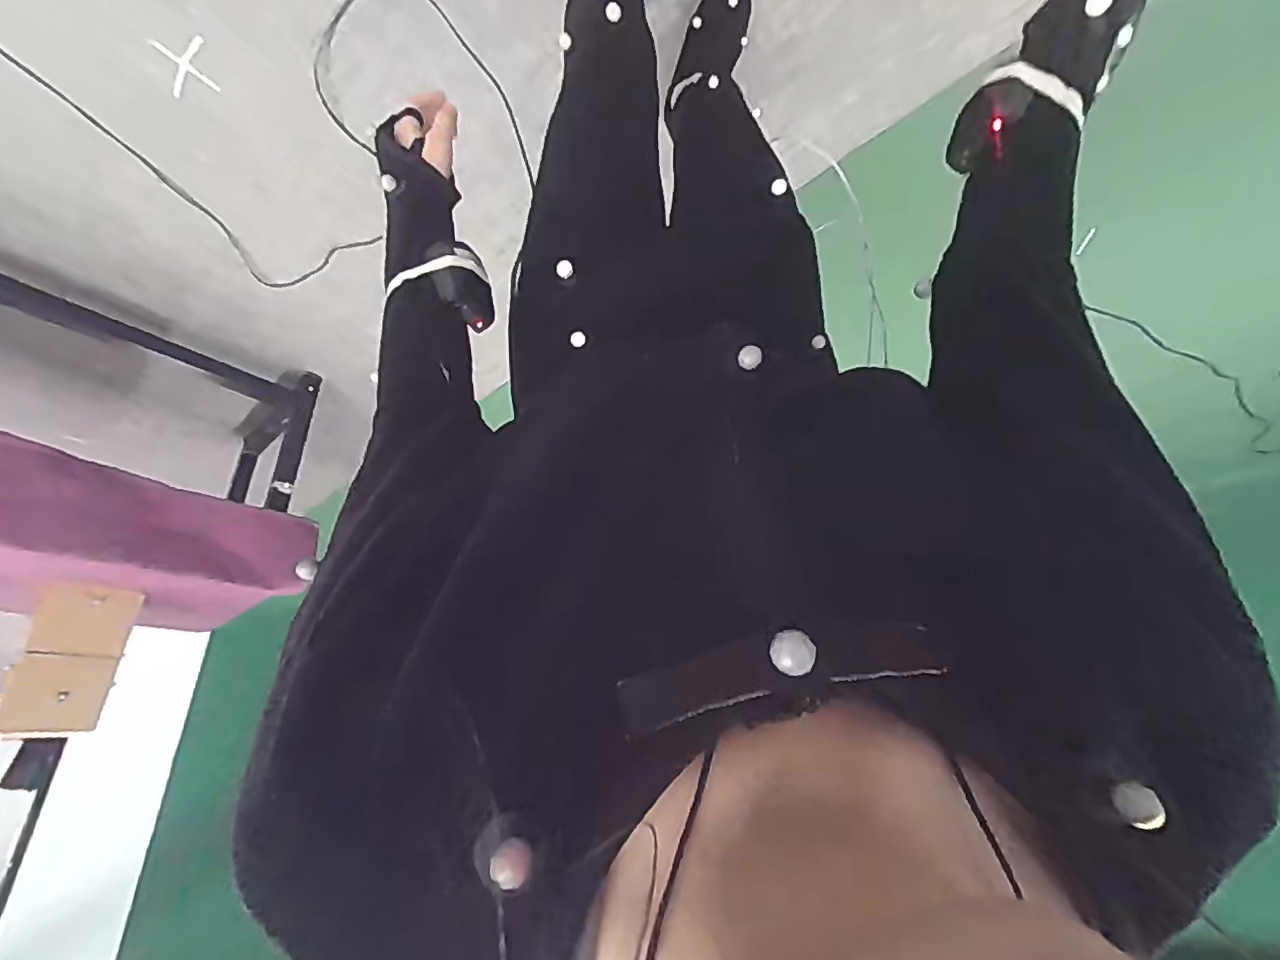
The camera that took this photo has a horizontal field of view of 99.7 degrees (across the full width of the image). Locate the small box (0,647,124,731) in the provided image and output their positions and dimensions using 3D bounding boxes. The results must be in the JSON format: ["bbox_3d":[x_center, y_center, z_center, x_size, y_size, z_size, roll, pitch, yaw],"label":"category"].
[{"bbox_3d":[-1.399,0.502,1.300,0.168,0.176,0.179,-25,147,35],"label":"small box"}]

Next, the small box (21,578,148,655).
[{"bbox_3d":[-1.408,0.356,1.376,0.168,0.176,0.179,-25,146,35],"label":"small box"}]
